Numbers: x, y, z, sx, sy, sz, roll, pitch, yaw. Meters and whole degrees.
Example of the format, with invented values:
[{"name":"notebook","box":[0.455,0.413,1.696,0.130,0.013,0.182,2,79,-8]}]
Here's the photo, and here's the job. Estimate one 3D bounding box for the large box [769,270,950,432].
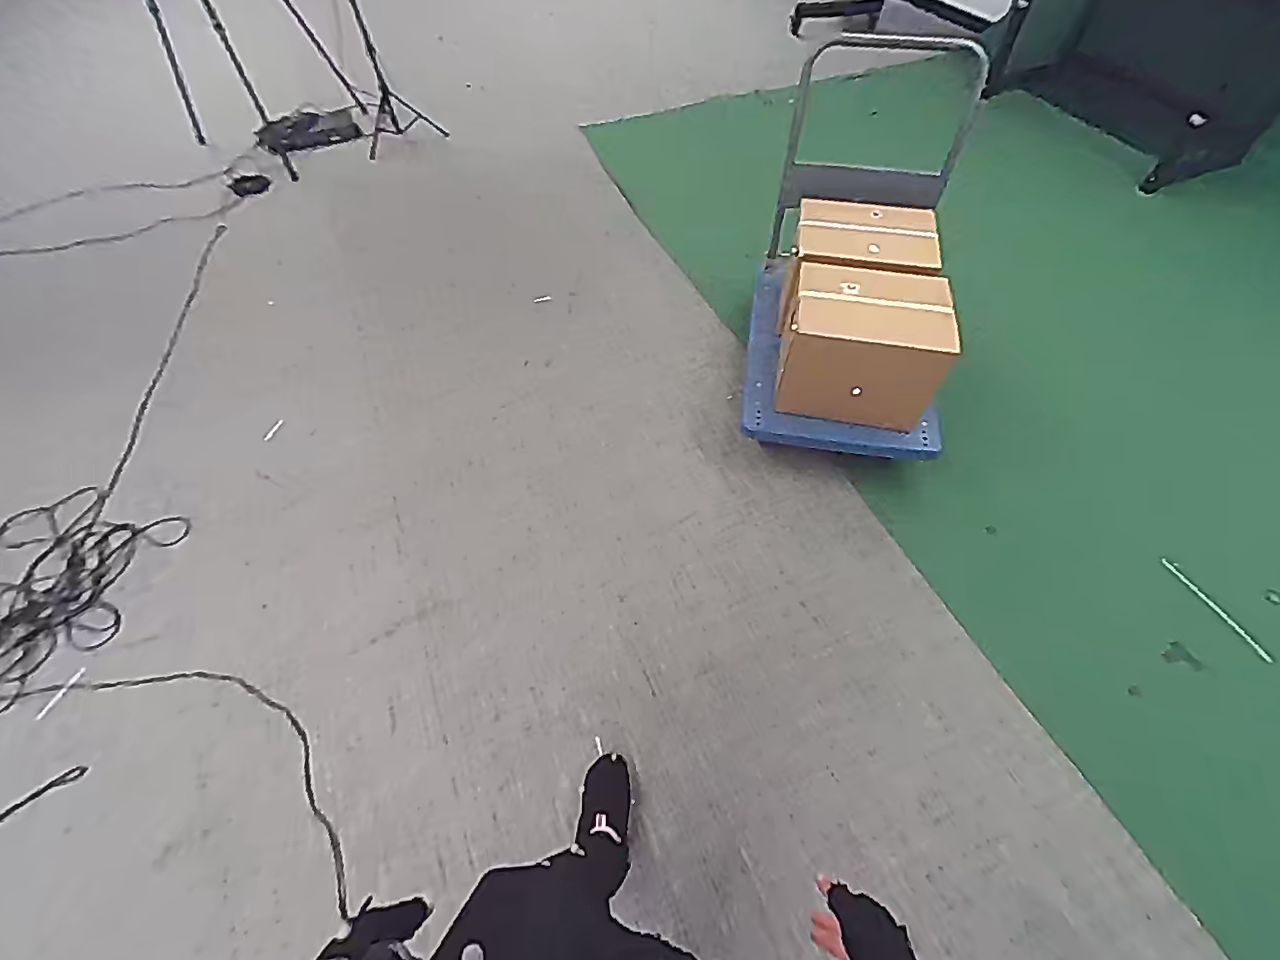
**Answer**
[{"name":"large box","box":[0.612,-0.369,1.567,0.408,0.320,0.320,9,56,8]}]
